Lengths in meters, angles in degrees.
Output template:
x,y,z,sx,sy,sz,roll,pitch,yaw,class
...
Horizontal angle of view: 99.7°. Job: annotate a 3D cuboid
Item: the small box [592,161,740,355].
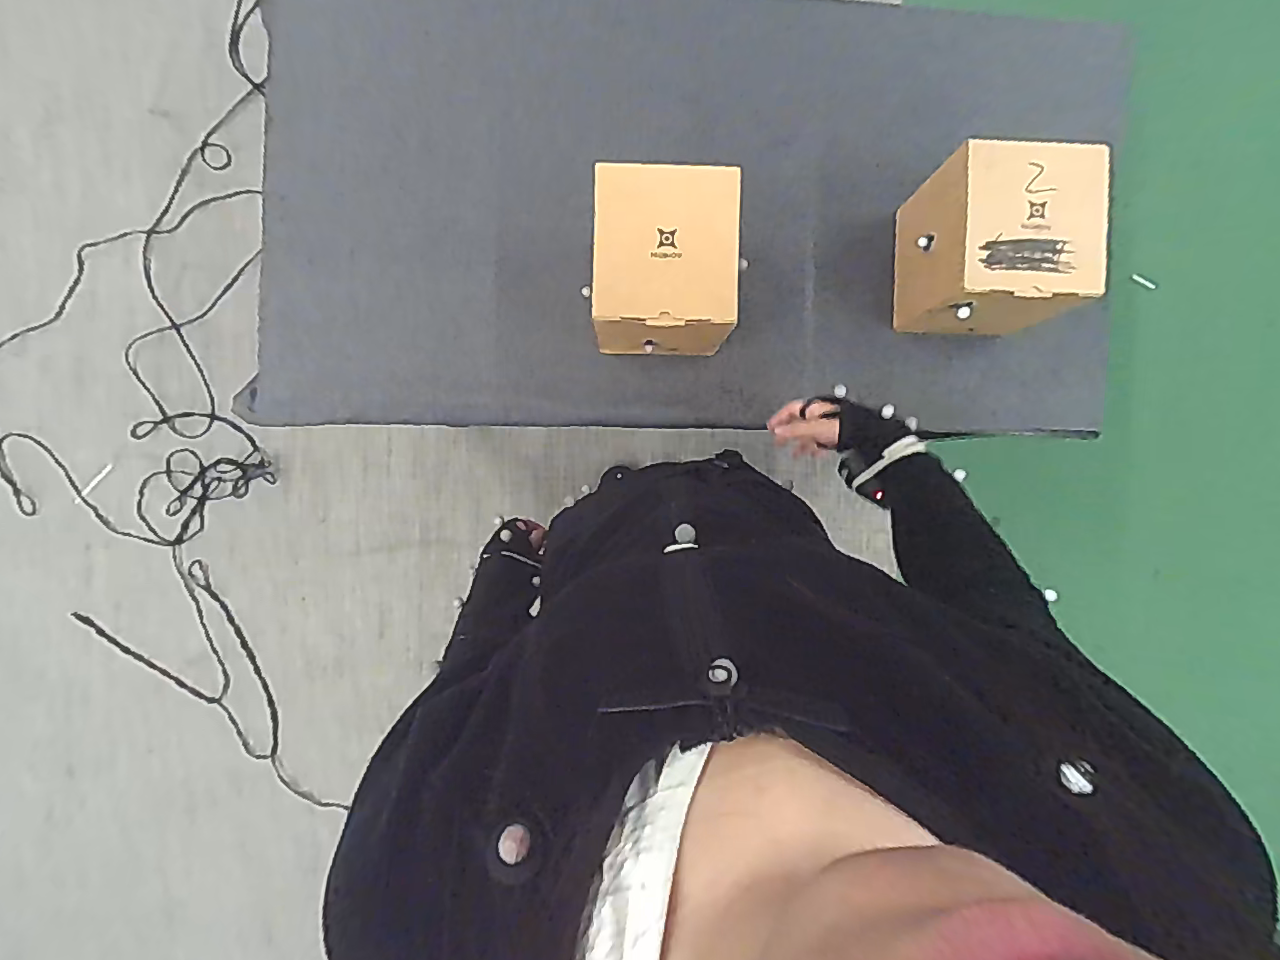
x,y,z,sx,sy,sz,roll,pitch,yaw,class
0.025,-0.265,0.682,0.168,0.176,0.179,1,91,-3,small box
